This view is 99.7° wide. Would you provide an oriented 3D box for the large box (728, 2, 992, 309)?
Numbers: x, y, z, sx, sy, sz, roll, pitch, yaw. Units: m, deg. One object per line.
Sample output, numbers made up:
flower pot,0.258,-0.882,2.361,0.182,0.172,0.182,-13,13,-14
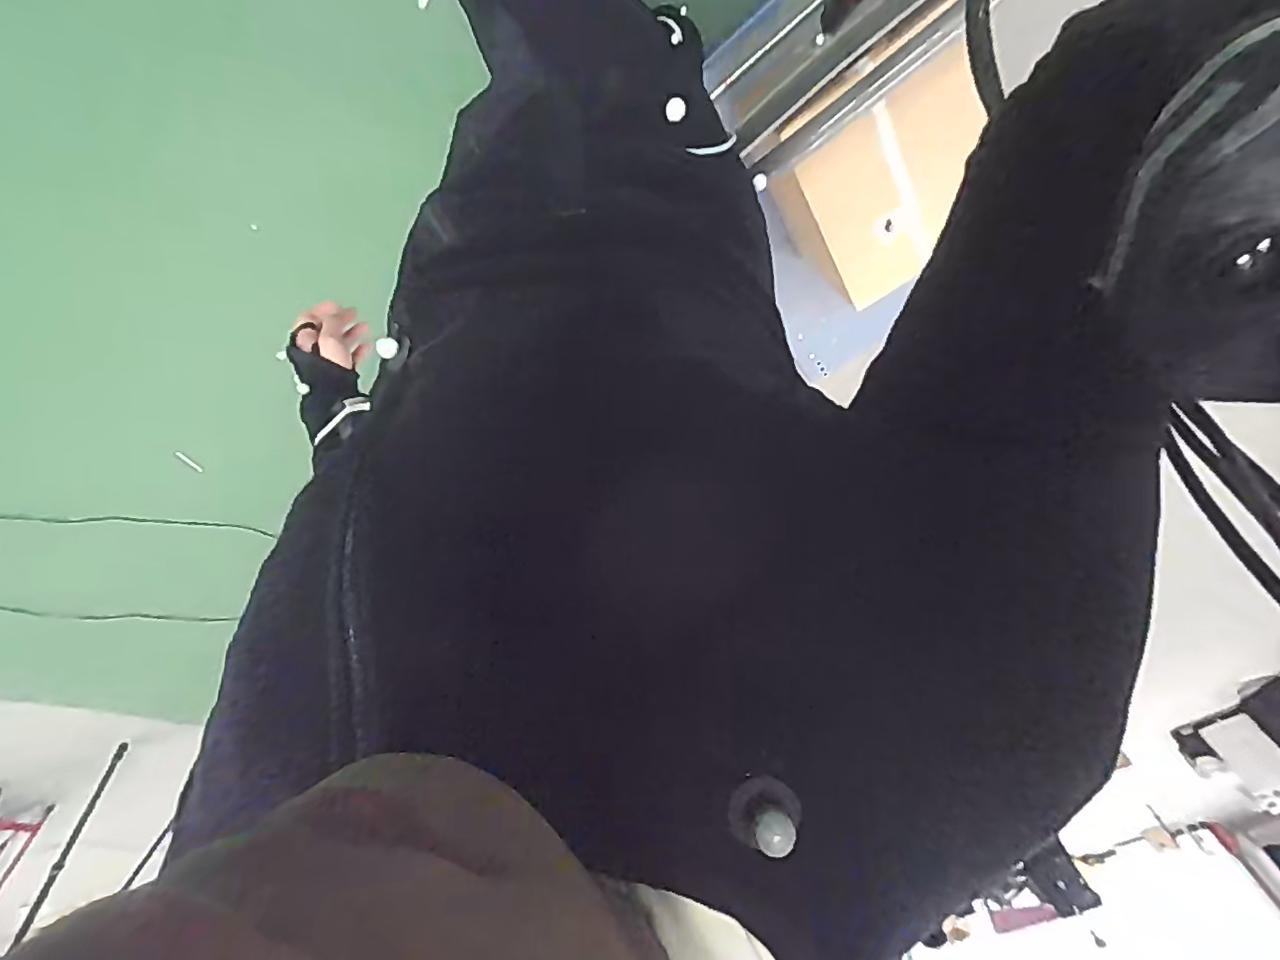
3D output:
large box,0.437,-0.645,1.099,0.320,0.320,0.408,-32,130,16
